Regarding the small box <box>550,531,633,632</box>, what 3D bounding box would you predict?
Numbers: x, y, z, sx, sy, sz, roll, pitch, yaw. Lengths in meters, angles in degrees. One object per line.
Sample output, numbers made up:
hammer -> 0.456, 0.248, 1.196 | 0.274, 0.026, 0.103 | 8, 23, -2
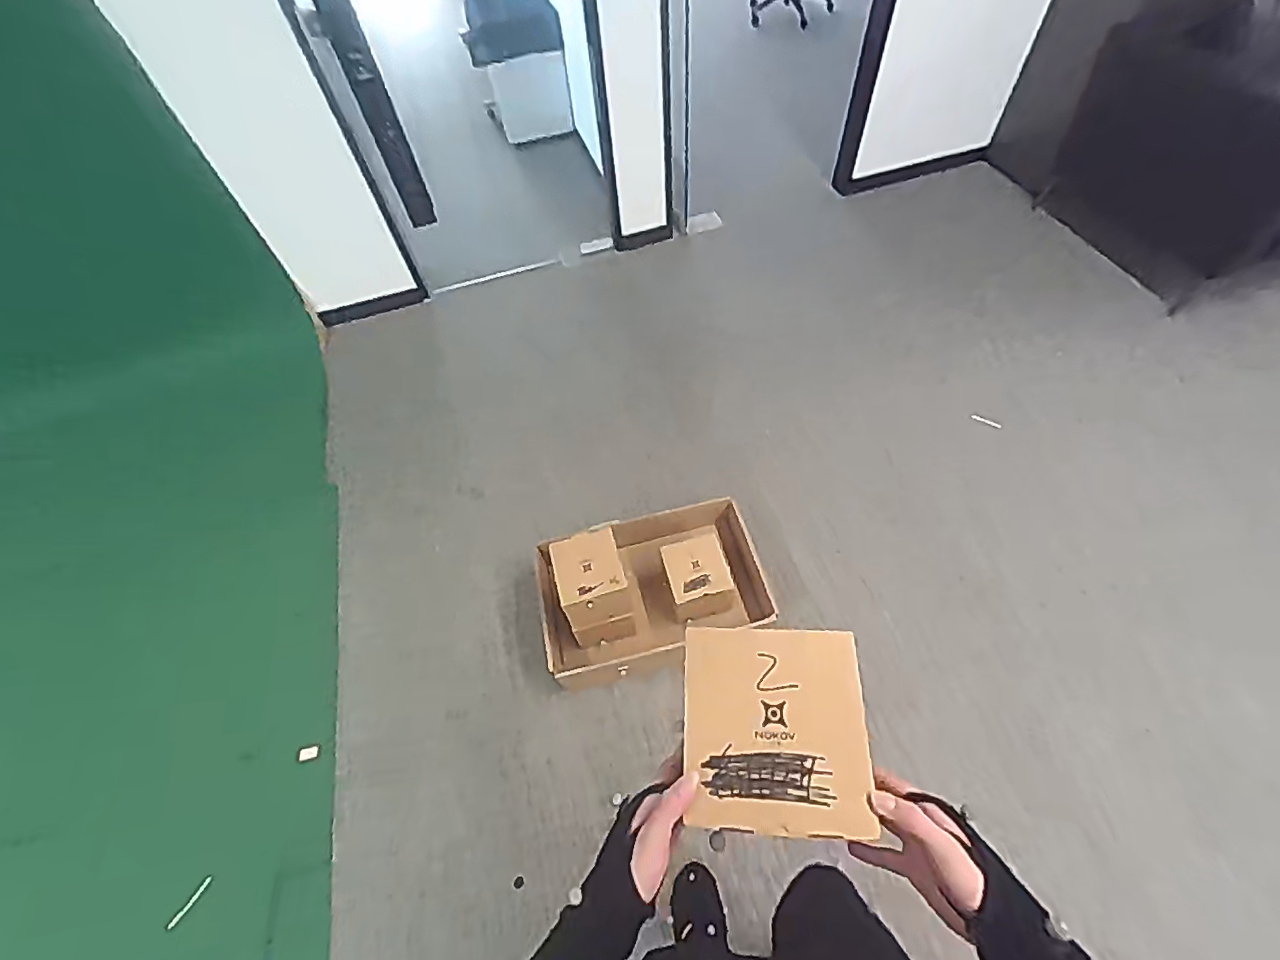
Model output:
small box -> -0.122, 0.261, 1.382 | 0.168, 0.176, 0.179 | -15, 55, -5
